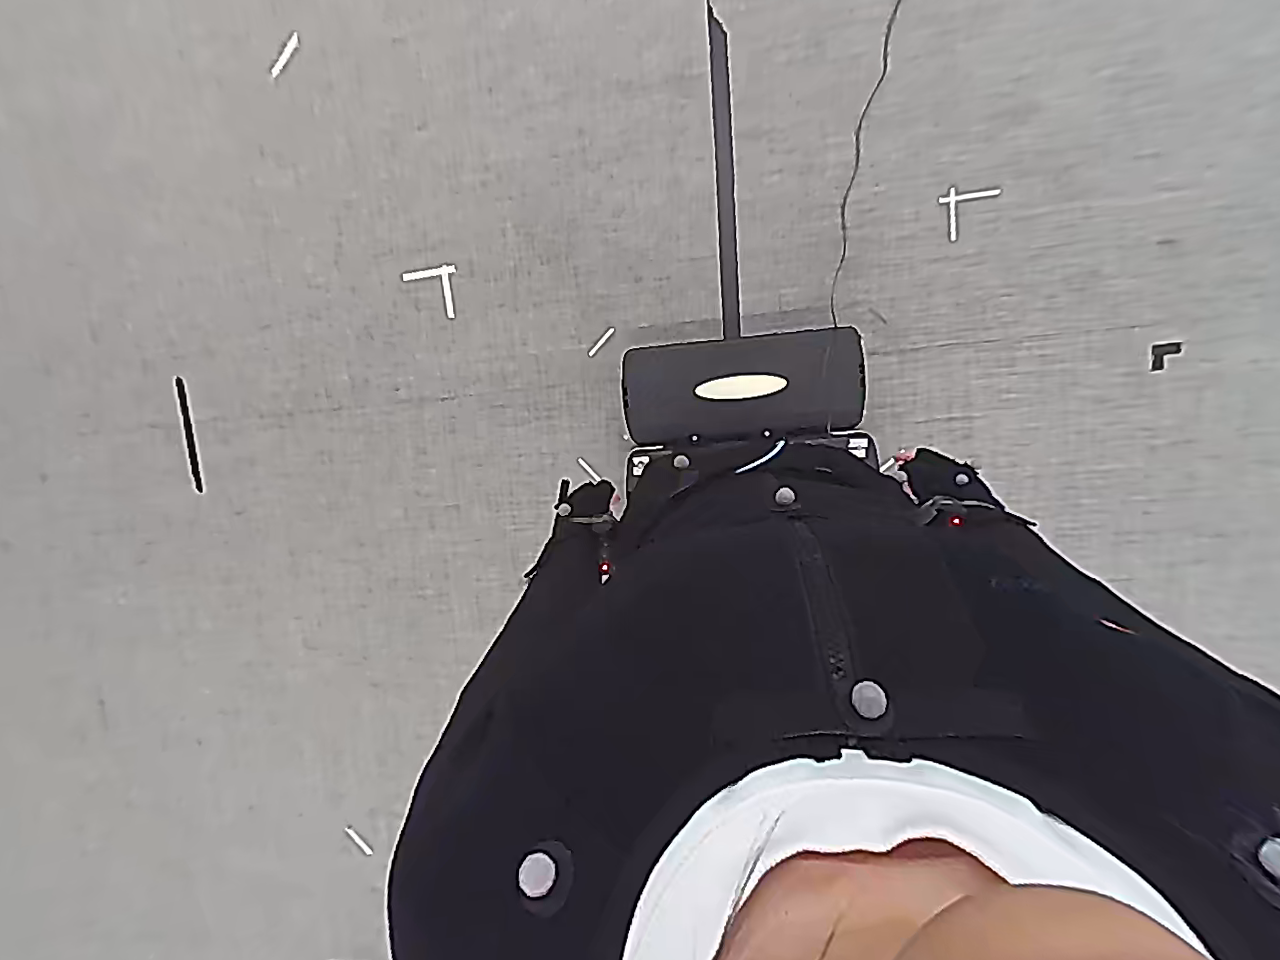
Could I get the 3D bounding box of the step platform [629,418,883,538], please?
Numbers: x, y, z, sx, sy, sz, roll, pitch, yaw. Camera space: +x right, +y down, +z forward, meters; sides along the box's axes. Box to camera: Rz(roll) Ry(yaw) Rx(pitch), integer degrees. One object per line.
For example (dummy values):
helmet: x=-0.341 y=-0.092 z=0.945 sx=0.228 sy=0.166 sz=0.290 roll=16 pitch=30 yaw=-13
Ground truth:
step platform: x=0.311 y=-0.003 z=1.520 sx=0.684 sy=0.204 sz=0.286 roll=-5 pitch=95 yaw=9
